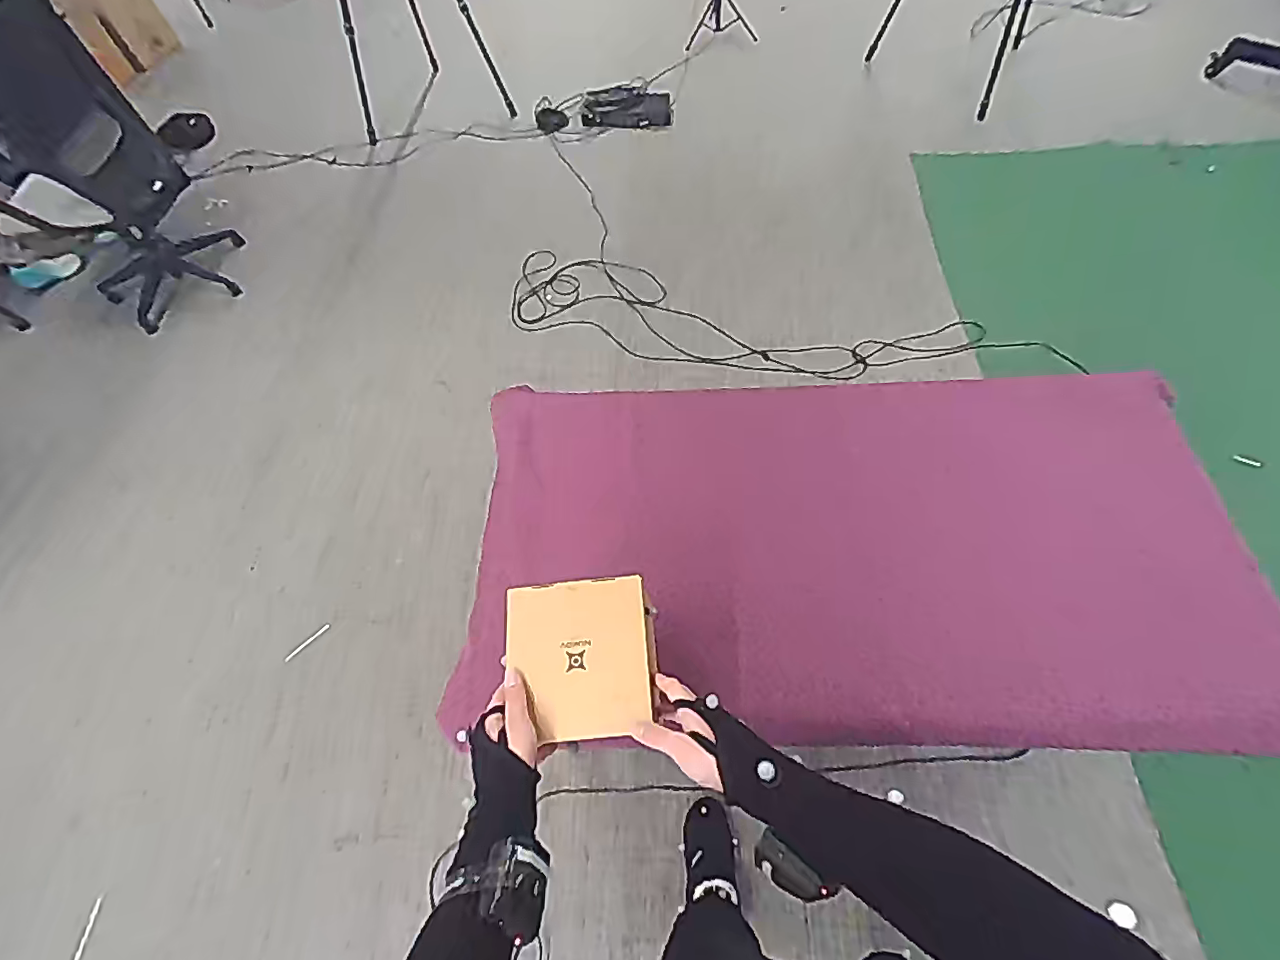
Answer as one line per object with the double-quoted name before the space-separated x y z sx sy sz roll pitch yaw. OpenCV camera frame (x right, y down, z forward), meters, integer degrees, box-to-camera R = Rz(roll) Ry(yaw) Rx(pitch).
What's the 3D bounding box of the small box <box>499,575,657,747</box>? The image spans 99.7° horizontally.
"small box" -0.071 0.234 0.689 0.168 0.176 0.179 -7 65 3
